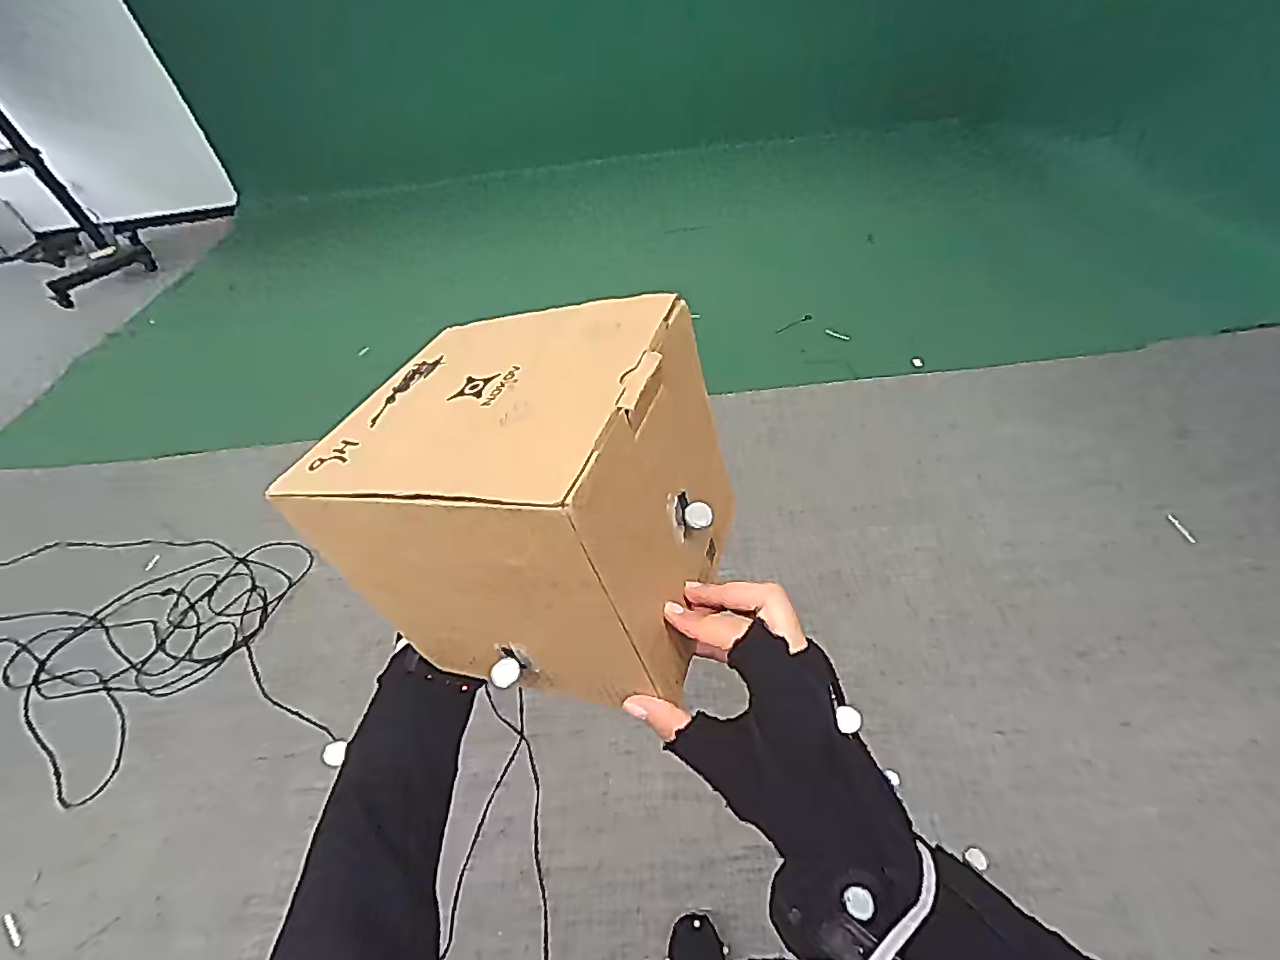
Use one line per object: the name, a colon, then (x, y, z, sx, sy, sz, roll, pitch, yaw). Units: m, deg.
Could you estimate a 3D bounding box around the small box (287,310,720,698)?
small box: (-0.057, 0.015, 0.344, 0.179, 0.176, 0.168, 1, 43, 25)
